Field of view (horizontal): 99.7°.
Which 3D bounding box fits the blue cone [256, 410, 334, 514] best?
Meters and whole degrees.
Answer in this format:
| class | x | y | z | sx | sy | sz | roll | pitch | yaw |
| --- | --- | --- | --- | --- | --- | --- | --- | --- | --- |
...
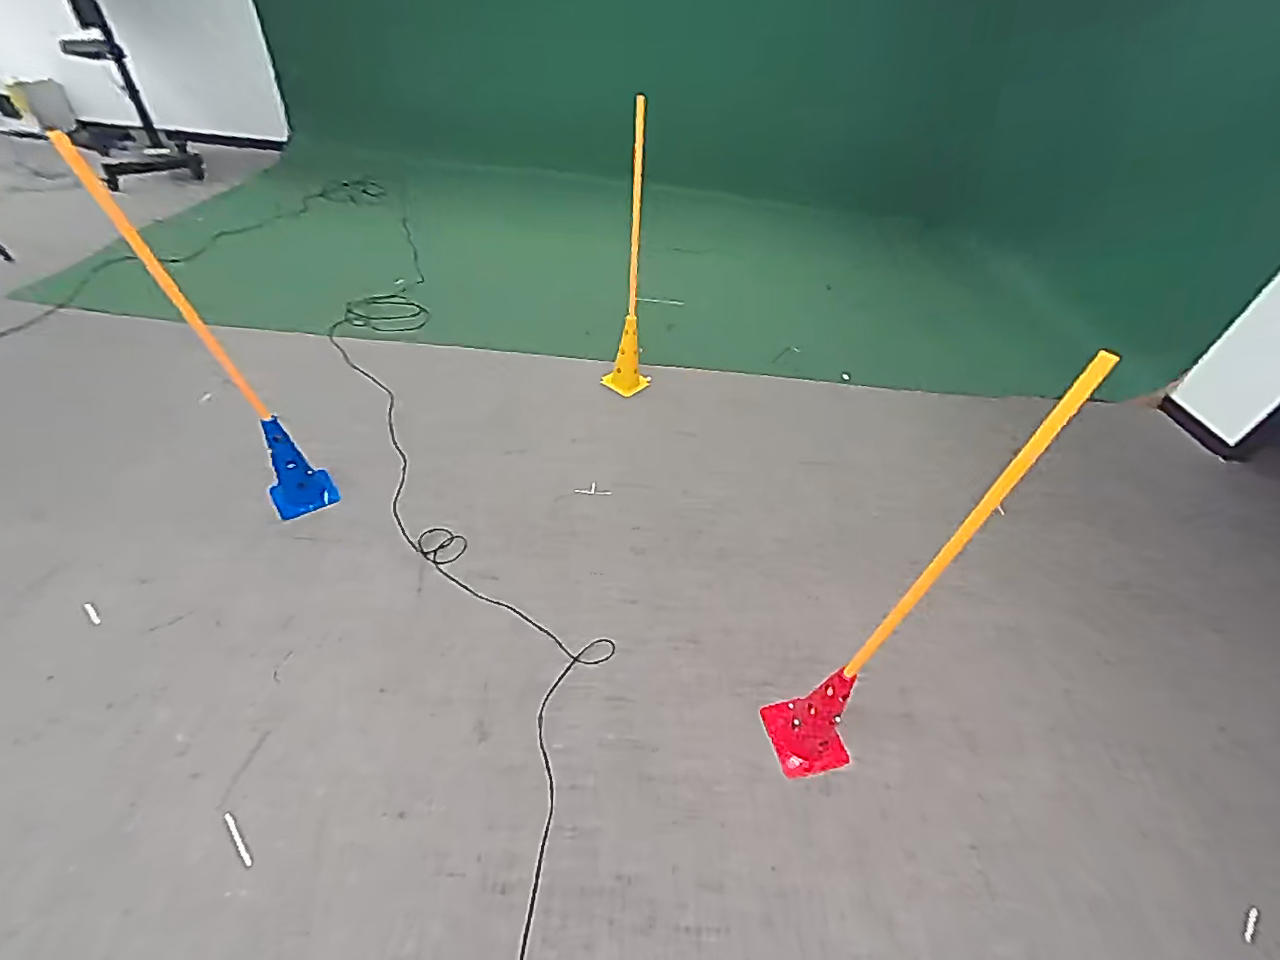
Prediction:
| class | x | y | z | sx | sy | sz | roll | pitch | yaw |
| --- | --- | --- | --- | --- | --- | --- | --- | --- | --- |
| blue cone | -1.219 | -0.077 | 1.854 | 0.193 | 0.380 | 0.192 | -28 | 55 | -30 |
